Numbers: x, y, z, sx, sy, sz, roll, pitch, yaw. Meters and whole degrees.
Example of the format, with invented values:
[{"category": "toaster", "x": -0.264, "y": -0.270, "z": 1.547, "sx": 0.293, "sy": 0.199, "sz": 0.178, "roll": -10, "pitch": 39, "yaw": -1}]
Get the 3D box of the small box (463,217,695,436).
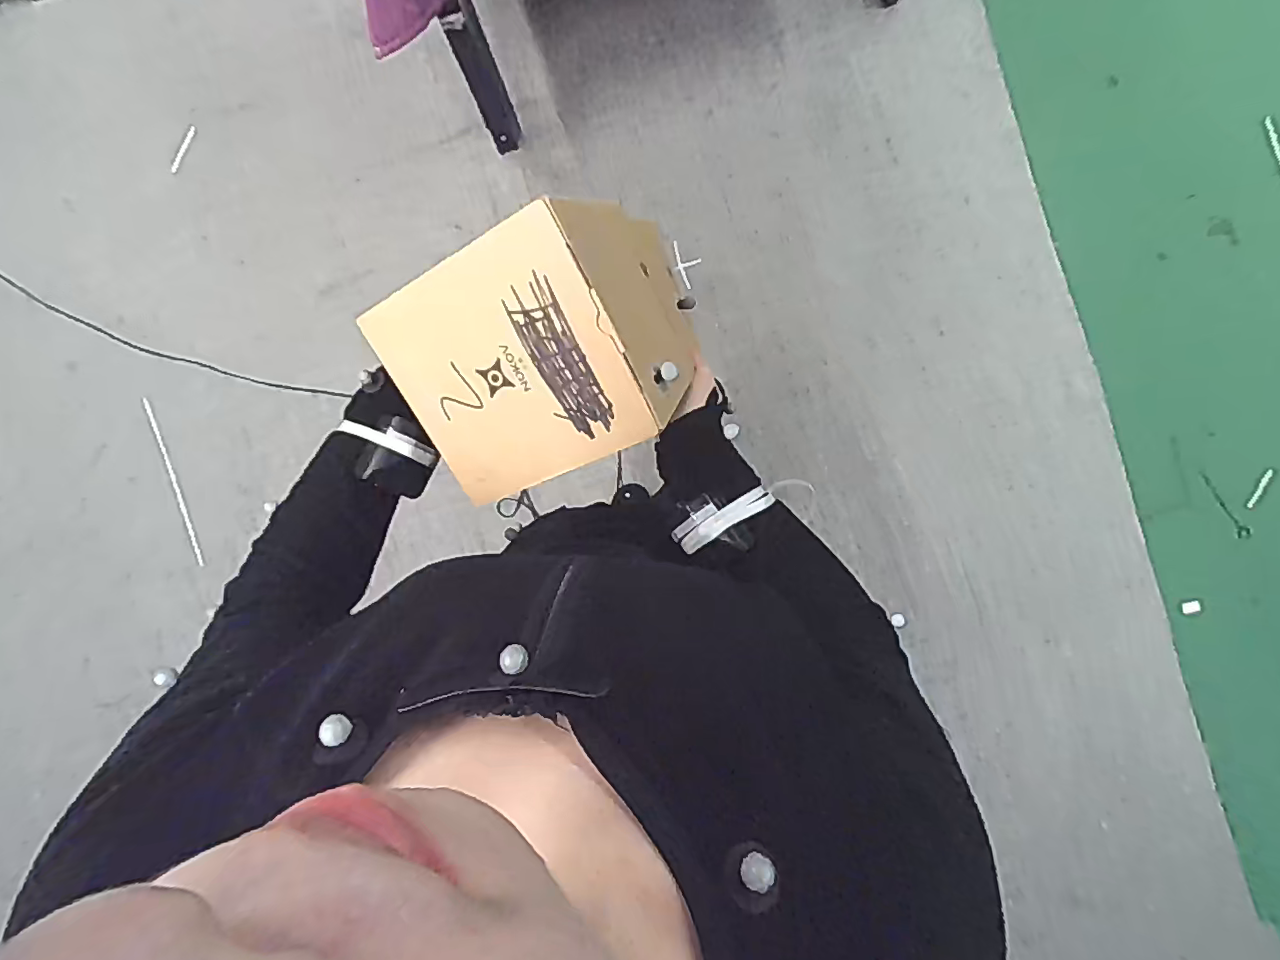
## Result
[{"category": "small box", "x": -0.054, "y": -0.172, "z": 0.605, "sx": 0.179, "sy": 0.176, "sz": 0.168, "roll": -17, "pitch": 109, "yaw": 20}]
